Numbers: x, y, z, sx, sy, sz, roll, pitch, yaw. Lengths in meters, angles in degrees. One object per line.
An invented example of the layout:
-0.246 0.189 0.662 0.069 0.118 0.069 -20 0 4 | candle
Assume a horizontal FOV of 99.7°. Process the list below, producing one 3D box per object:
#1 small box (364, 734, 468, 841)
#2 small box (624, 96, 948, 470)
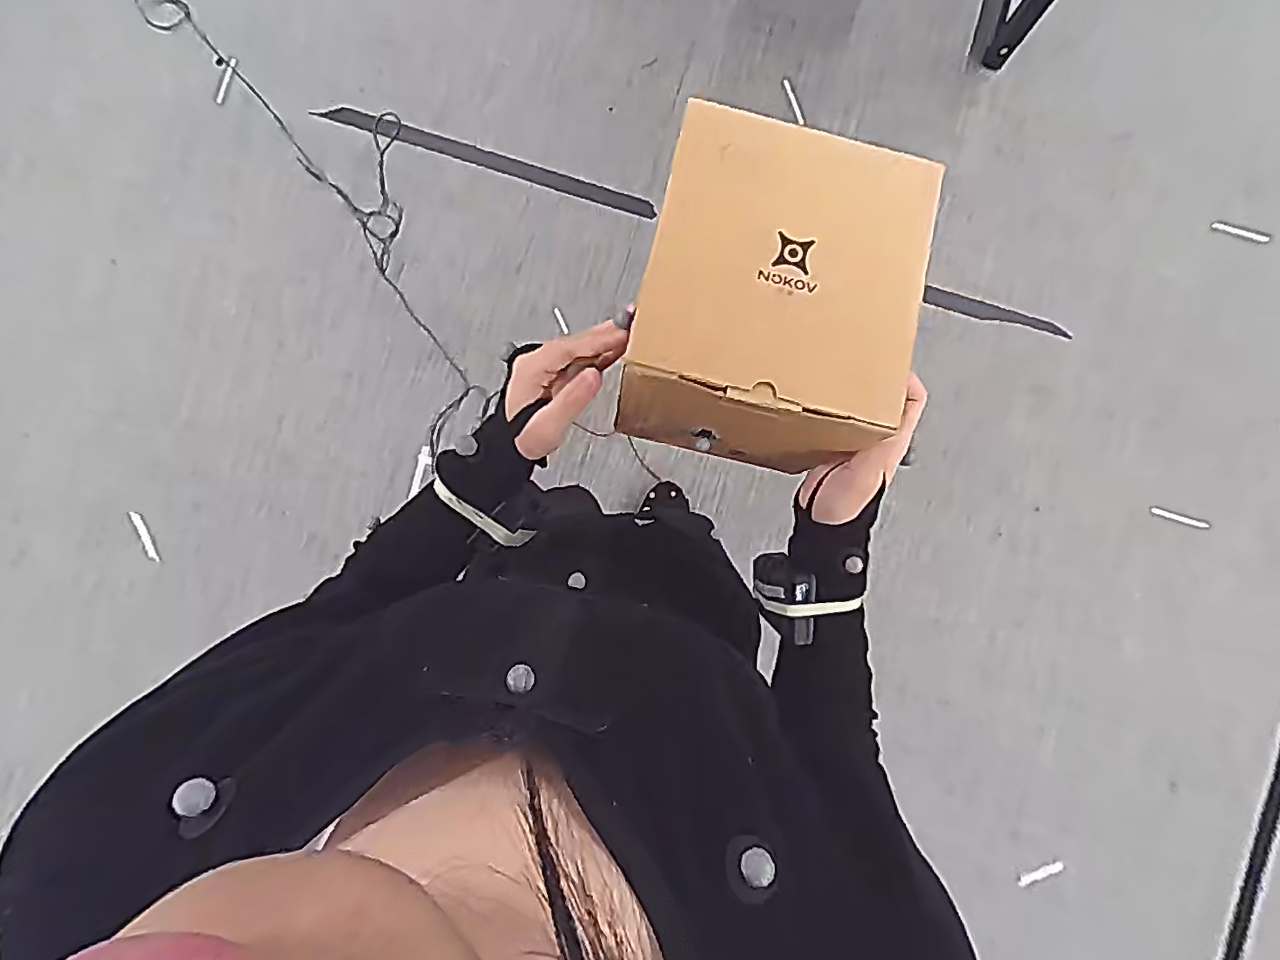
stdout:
-0.562 0.771 1.374 0.179 0.176 0.168 10 89 1 | small box
0.084 -0.117 0.391 0.168 0.176 0.179 12 82 -2 | small box
